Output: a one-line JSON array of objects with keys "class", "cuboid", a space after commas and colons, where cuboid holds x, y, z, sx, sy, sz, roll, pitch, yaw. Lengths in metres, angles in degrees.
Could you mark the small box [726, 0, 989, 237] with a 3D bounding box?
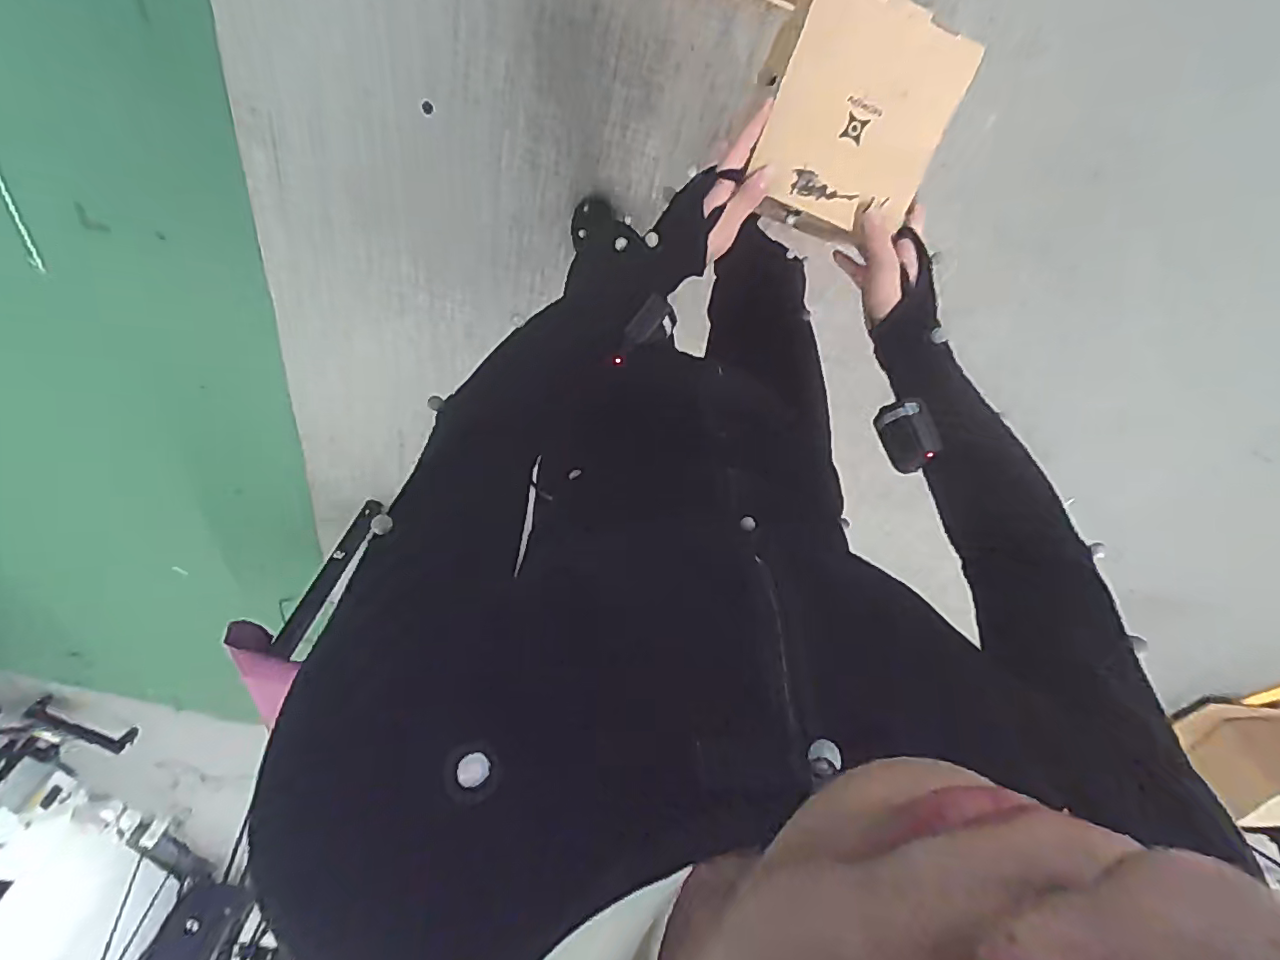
[{"class": "small box", "cuboid": [0.203, -0.373, 0.567, 0.168, 0.176, 0.179, 17, 113, -9]}]
